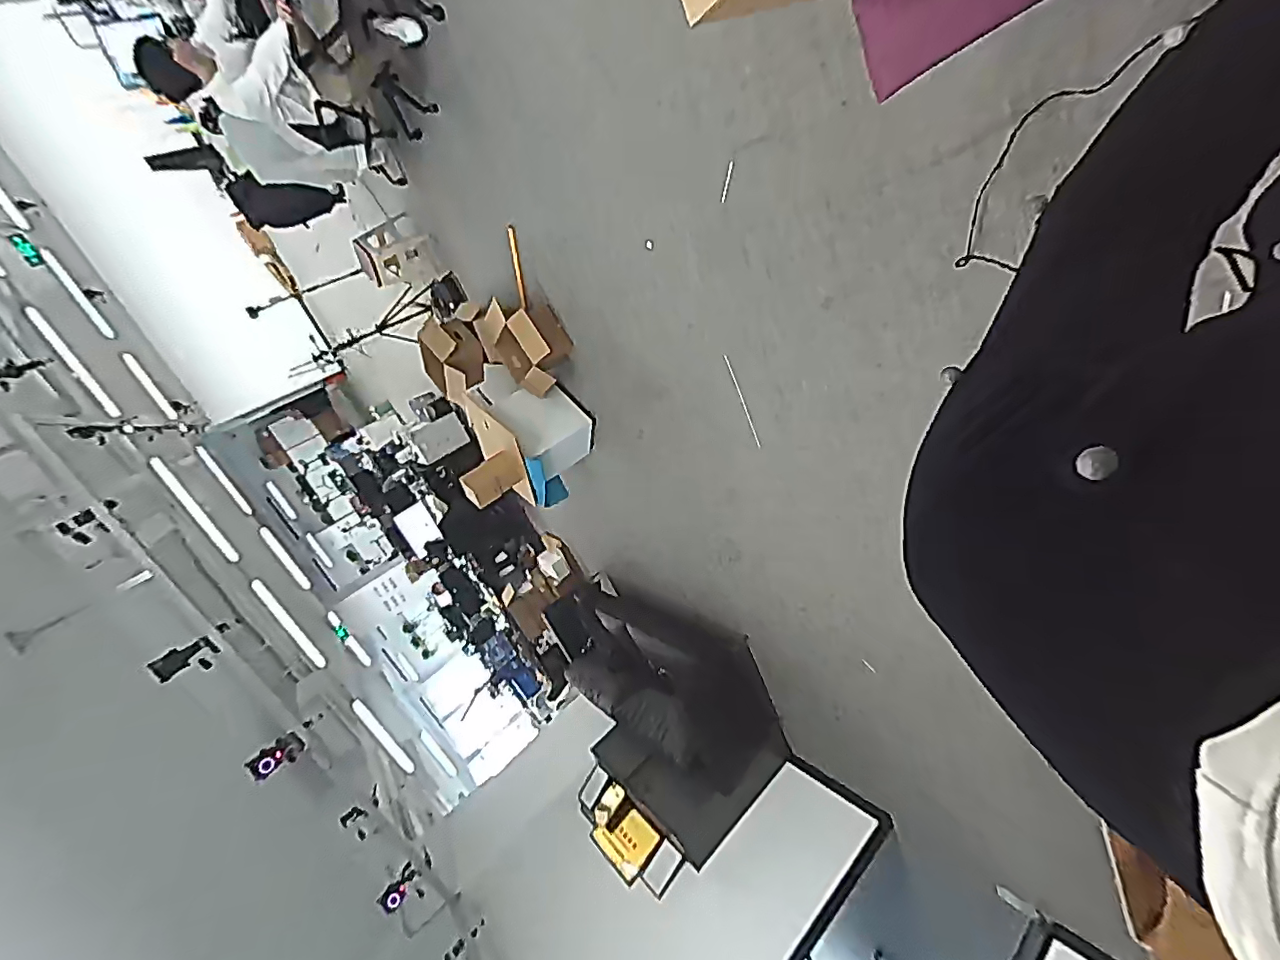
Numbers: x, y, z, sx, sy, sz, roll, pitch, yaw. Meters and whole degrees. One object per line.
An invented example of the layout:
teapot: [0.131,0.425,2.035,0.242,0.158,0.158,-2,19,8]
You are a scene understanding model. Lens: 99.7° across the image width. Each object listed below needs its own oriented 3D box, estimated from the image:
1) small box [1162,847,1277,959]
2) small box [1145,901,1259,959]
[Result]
small box: [1.483,1.094,1.380,0.179,0.176,0.168,5,128,57]
small box: [1.366,1.187,1.313,0.168,0.176,0.179,9,131,56]
